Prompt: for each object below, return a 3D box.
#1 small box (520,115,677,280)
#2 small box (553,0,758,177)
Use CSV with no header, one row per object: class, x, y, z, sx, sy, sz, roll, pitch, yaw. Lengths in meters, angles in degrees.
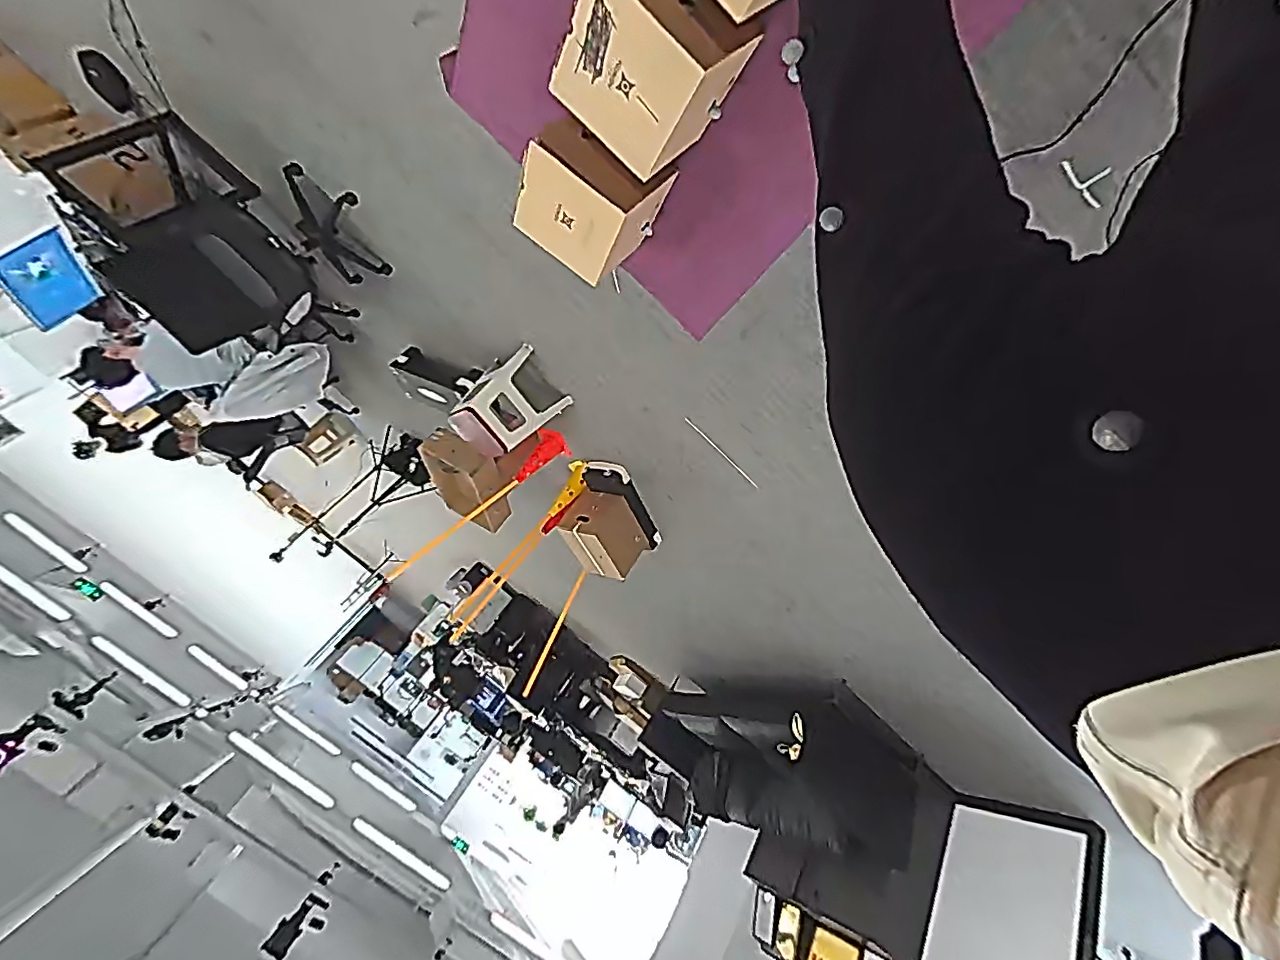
small box,-0.070,-0.485,0.912,0.179,0.176,0.168,39,151,-4
small box,0.020,-0.557,0.716,0.179,0.176,0.168,41,150,-9
